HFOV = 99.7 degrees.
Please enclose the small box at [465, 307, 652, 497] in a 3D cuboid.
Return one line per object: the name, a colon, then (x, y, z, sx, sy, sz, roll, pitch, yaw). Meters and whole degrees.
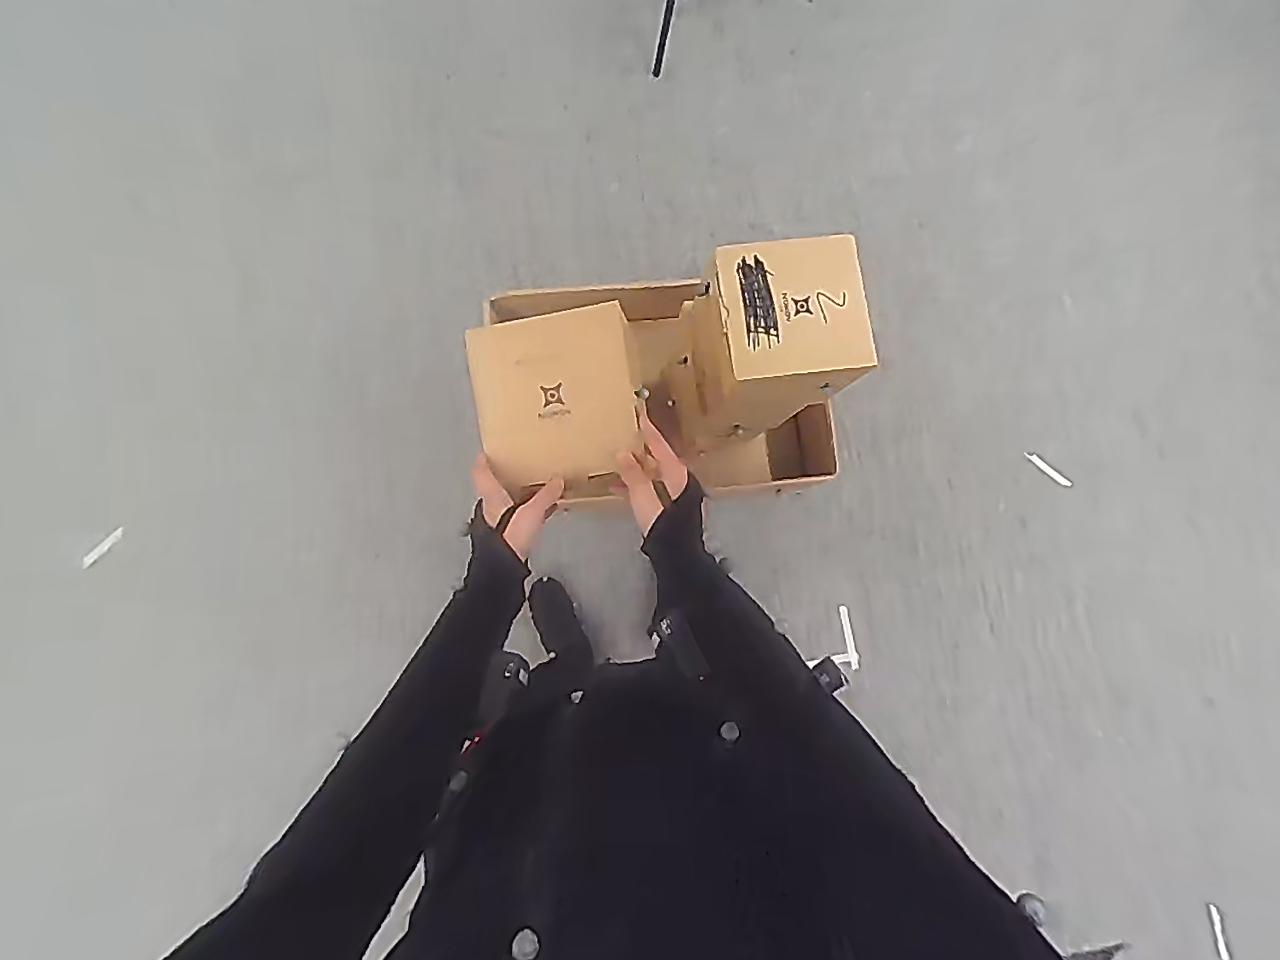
small box: (-0.082, -0.084, 0.635, 0.168, 0.176, 0.179, -9, 92, 5)
